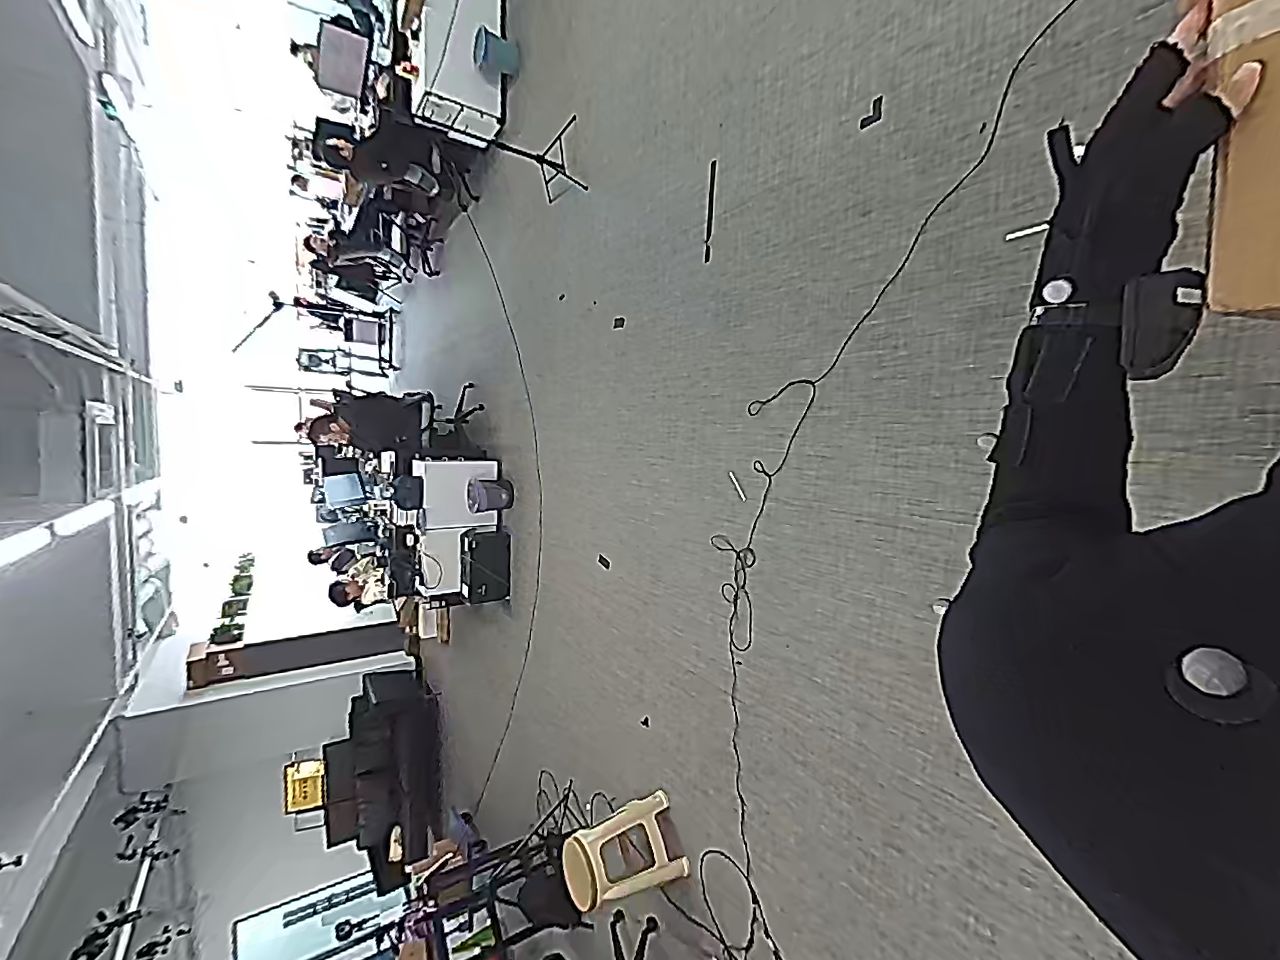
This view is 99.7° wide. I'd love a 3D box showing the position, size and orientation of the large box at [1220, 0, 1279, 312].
[{"bbox_3d":[0.574,-0.272,0.241,0.408,0.320,0.320,6,105,53],"label":"large box"}]
